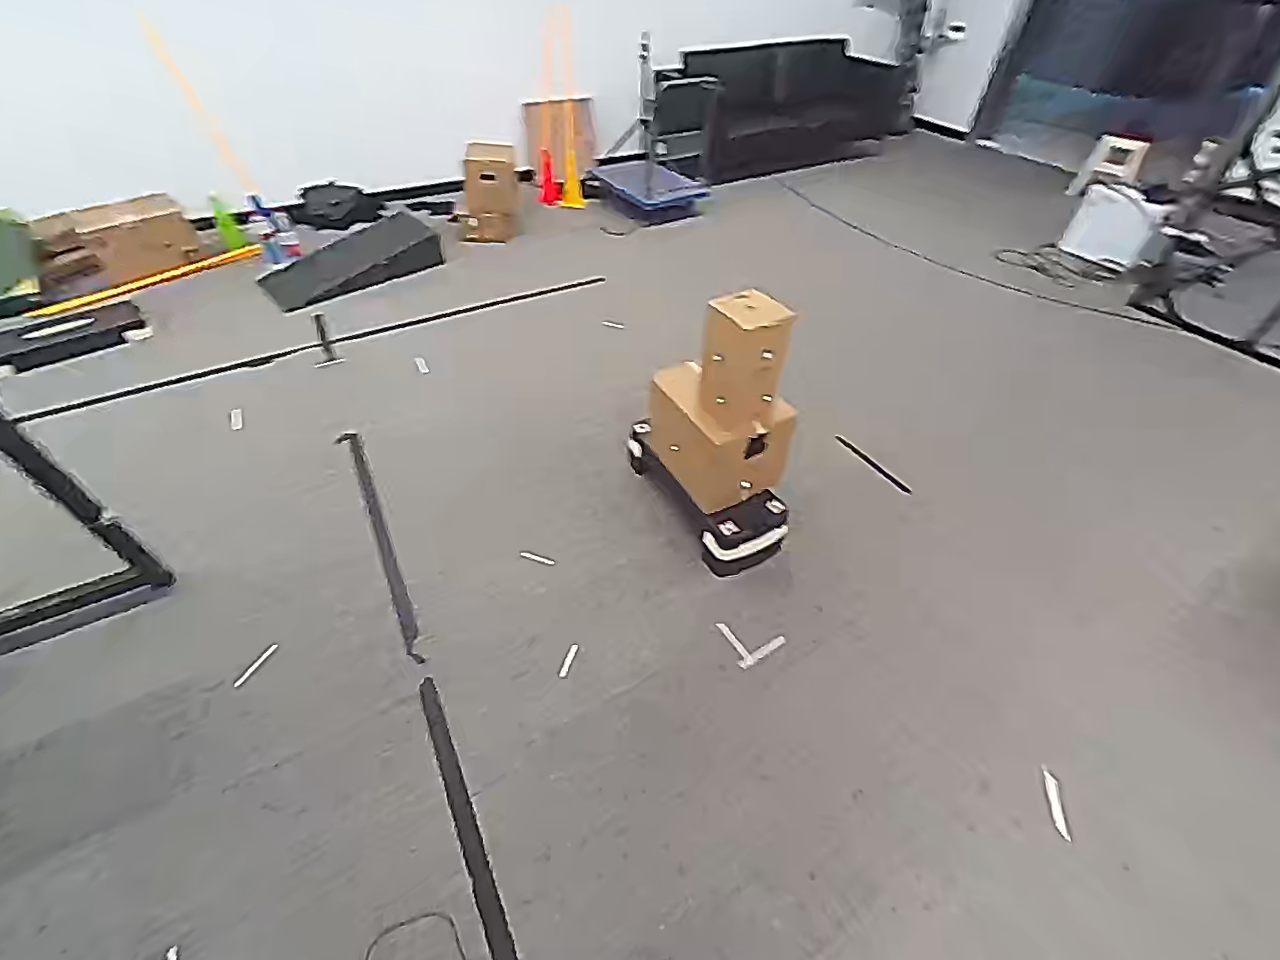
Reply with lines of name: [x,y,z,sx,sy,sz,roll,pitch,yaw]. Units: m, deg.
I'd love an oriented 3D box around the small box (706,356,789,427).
small box: [0.311,-0.274,1.598,0.168,0.176,0.179,-20,48,-20]

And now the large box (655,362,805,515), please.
large box: [0.280,-0.155,1.824,0.320,0.320,0.408,-20,48,-21]

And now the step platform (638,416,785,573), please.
step platform: [0.240,0.004,2.001,0.286,0.204,0.684,-16,47,-17]

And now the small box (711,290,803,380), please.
small box: [0.313,-0.392,1.485,0.168,0.176,0.179,-21,50,-21]
